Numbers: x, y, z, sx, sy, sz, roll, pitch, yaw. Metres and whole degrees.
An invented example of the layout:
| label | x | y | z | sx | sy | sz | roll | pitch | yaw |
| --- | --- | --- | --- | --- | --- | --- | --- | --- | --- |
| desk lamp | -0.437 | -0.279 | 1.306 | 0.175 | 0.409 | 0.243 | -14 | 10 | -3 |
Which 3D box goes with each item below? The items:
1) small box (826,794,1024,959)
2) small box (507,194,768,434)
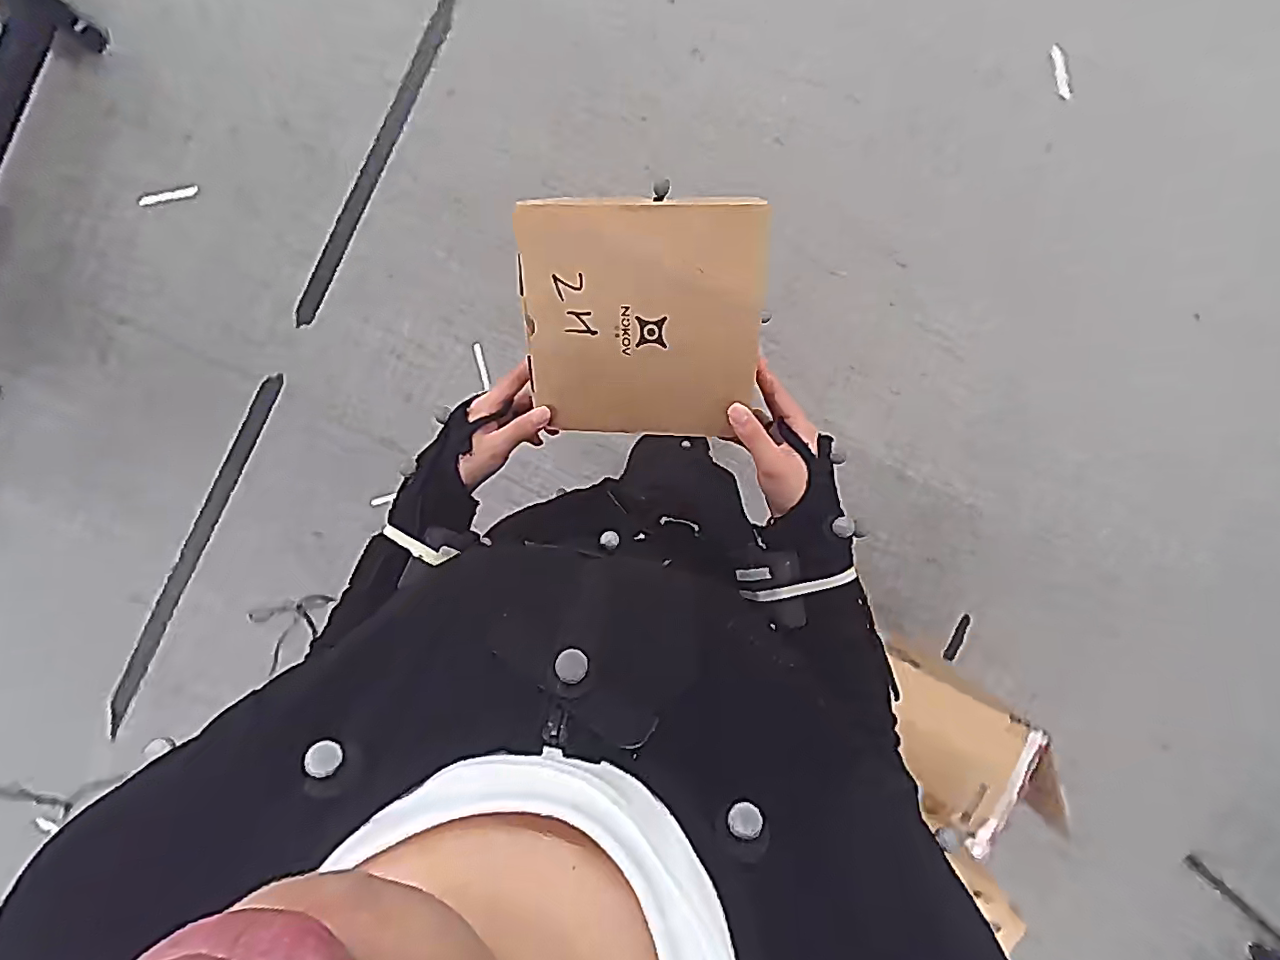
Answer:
| label | x | y | z | sx | sy | sz | roll | pitch | yaw |
| --- | --- | --- | --- | --- | --- | --- | --- | --- | --- |
| small box | 0.409 | 0.624 | 0.813 | 0.168 | 0.176 | 0.179 | 32 | 95 | 0 |
| small box | 0.005 | -0.149 | 0.460 | 0.179 | 0.176 | 0.168 | 2 | 118 | 6 |
